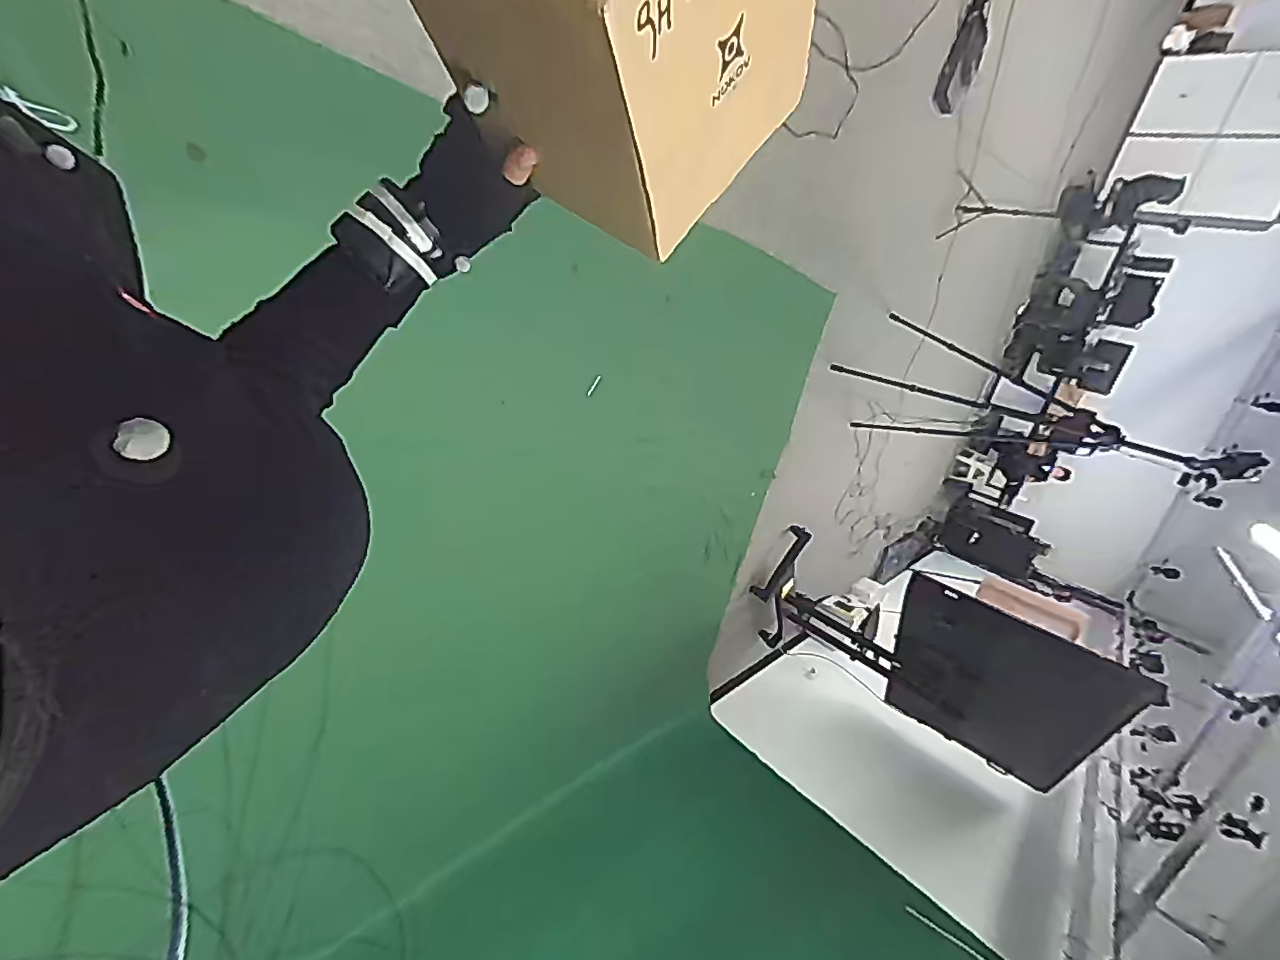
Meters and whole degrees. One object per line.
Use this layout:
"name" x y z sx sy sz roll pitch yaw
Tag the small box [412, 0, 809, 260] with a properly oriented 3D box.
"small box" -0.015 -0.282 0.326 0.168 0.176 0.179 -52 165 -5
